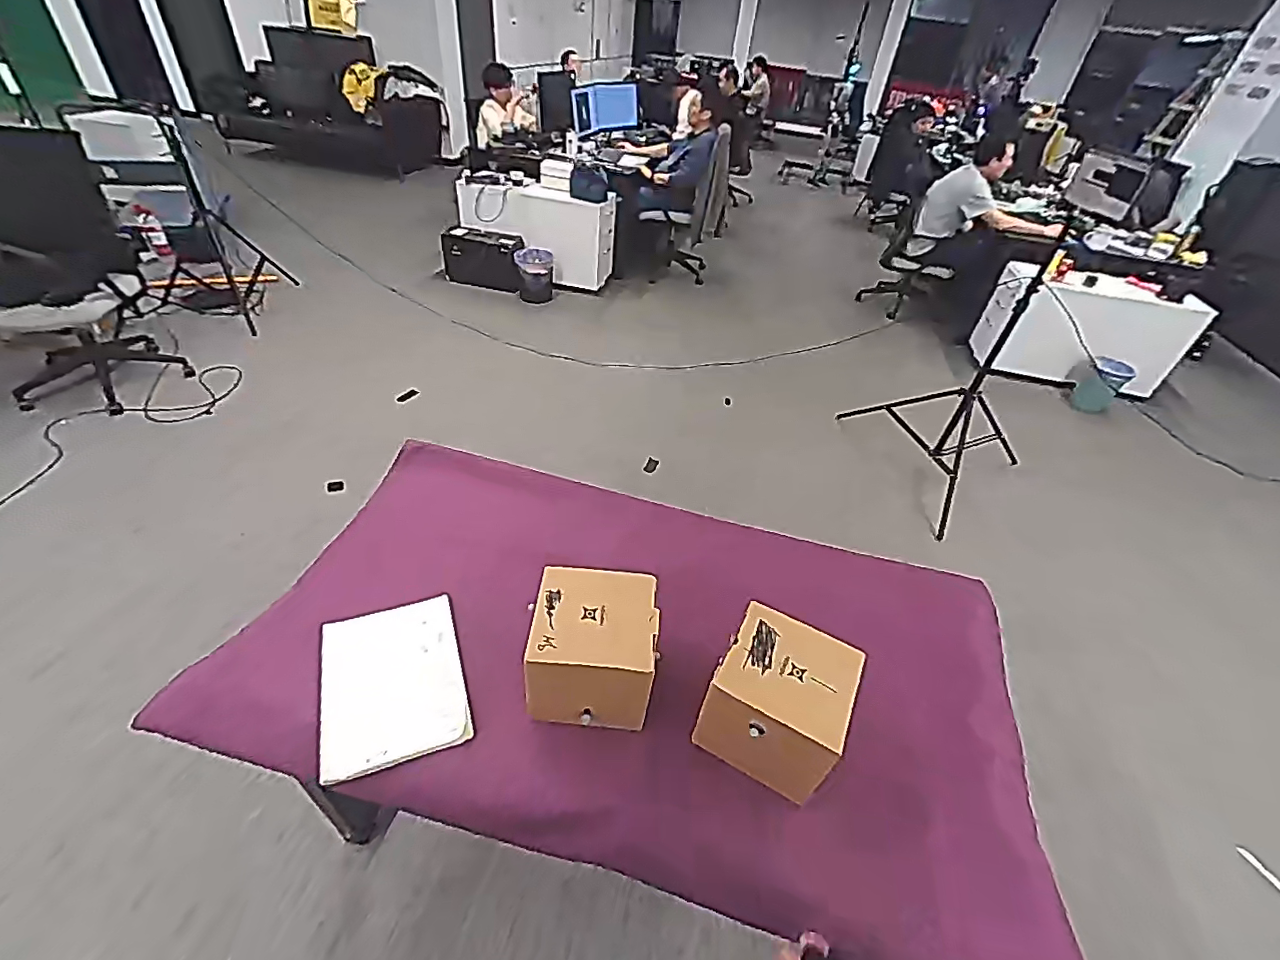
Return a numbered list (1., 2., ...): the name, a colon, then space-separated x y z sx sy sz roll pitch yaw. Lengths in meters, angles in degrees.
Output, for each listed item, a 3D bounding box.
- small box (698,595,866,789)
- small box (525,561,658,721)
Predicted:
1. small box: 0.200 0.308 0.788 0.179 0.176 0.168 23 42 19
2. small box: -0.070 0.248 0.826 0.179 0.176 0.168 6 39 -2
